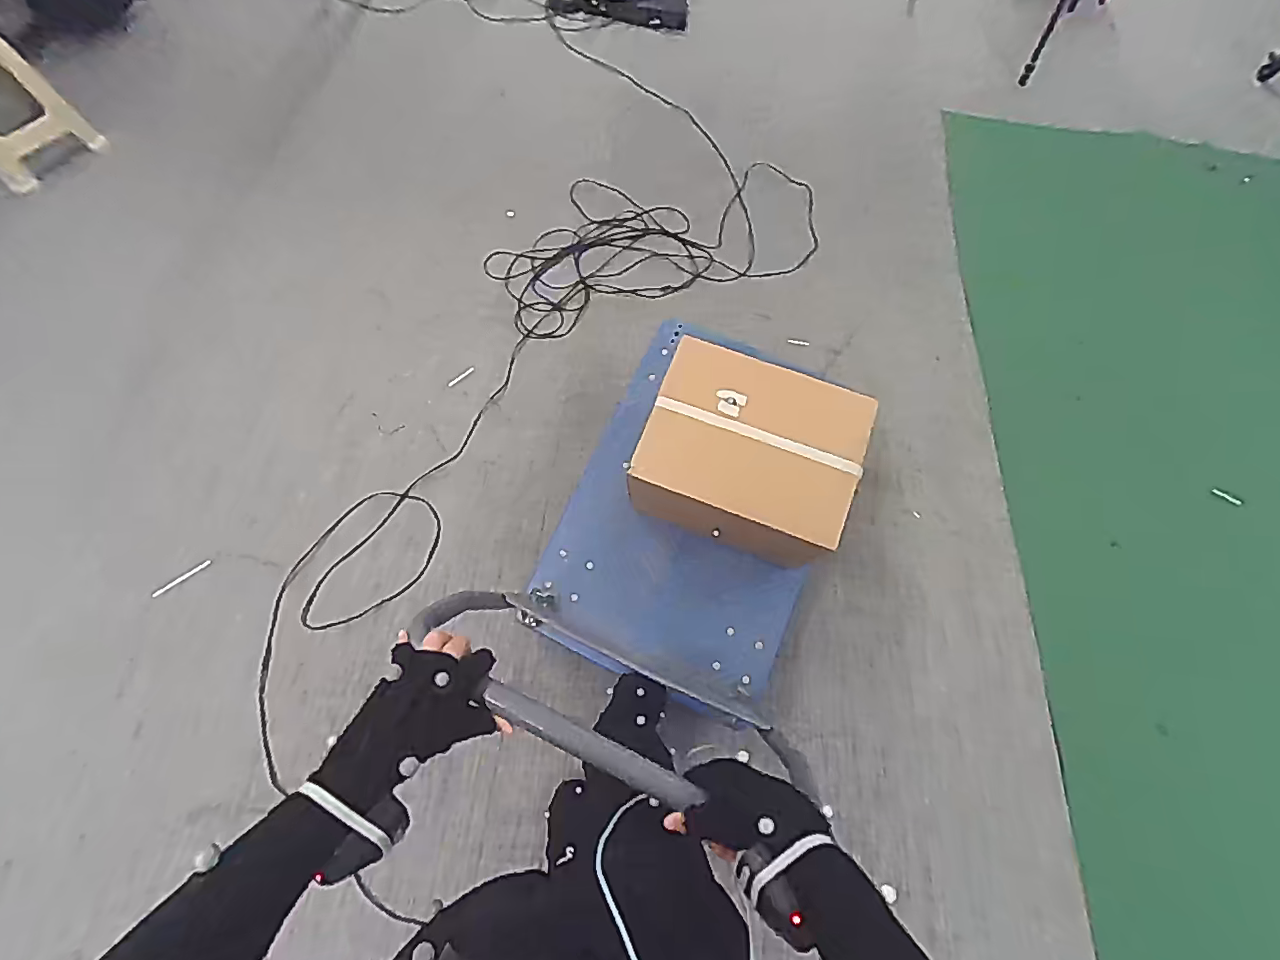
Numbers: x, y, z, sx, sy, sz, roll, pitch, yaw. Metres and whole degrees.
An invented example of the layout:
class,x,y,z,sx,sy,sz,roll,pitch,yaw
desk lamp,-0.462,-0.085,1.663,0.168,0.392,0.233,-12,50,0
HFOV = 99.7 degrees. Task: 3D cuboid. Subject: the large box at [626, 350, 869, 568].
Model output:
class,x,y,z,sx,sy,sz,roll,pitch,yaw
large box,0.218,-0.027,1.181,0.408,0.320,0.320,20,75,7
